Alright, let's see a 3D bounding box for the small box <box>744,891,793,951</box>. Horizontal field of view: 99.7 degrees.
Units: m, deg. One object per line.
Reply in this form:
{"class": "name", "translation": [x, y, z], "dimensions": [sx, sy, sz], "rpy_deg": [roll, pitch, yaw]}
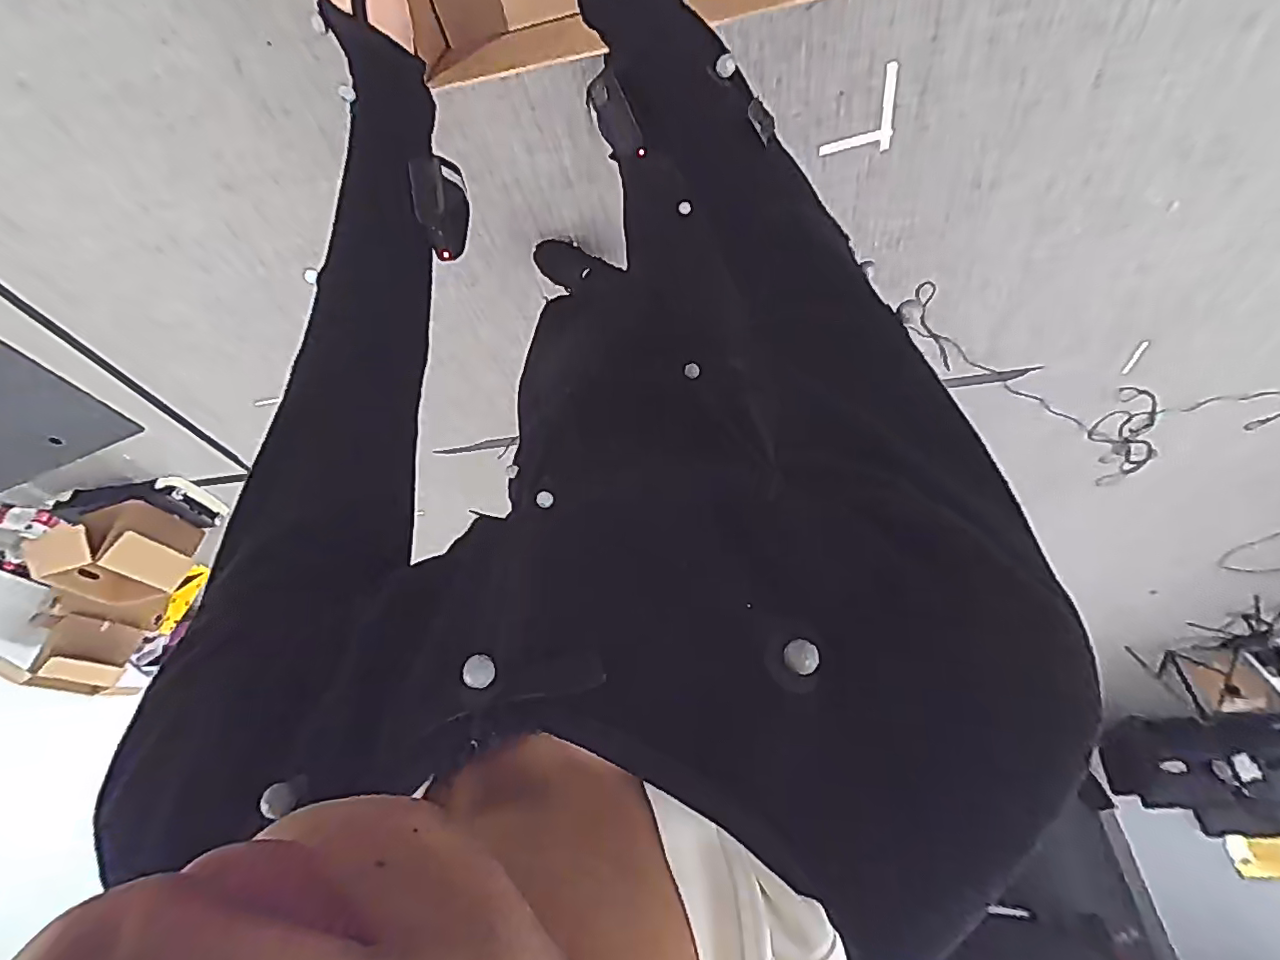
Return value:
{"class": "small box", "translation": [0.503, 1.731, 2.130], "dimensions": [0.168, 0.176, 0.179], "rpy_deg": [-7, 145, 9]}
